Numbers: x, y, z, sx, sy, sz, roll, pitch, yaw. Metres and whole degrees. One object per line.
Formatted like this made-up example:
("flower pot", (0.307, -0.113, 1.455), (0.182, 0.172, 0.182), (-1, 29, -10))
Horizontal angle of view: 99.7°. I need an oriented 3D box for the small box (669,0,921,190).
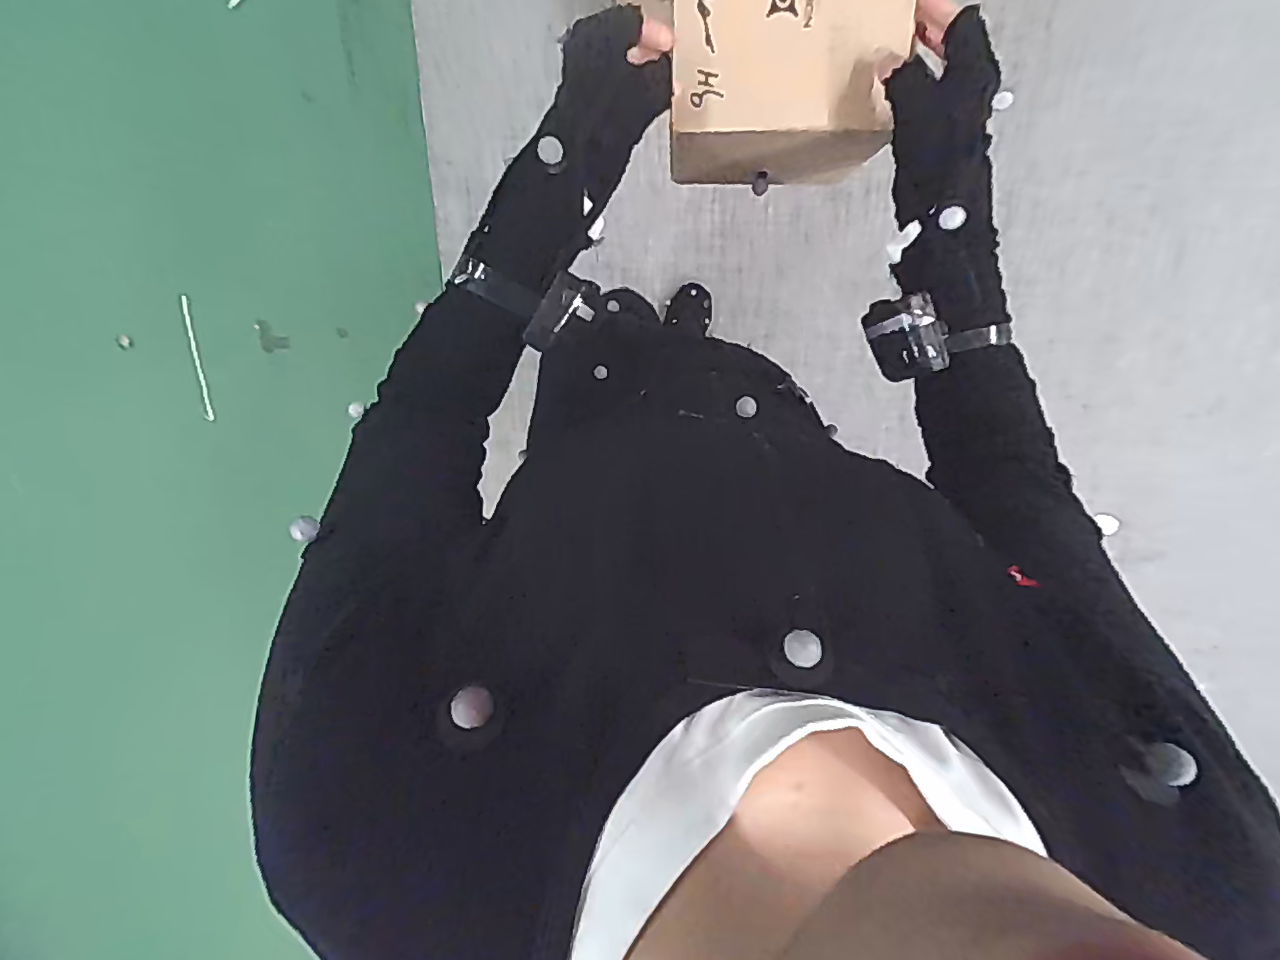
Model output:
("small box", (0.116, -0.360, 0.464), (0.179, 0.176, 0.168), (2, 106, 2))
